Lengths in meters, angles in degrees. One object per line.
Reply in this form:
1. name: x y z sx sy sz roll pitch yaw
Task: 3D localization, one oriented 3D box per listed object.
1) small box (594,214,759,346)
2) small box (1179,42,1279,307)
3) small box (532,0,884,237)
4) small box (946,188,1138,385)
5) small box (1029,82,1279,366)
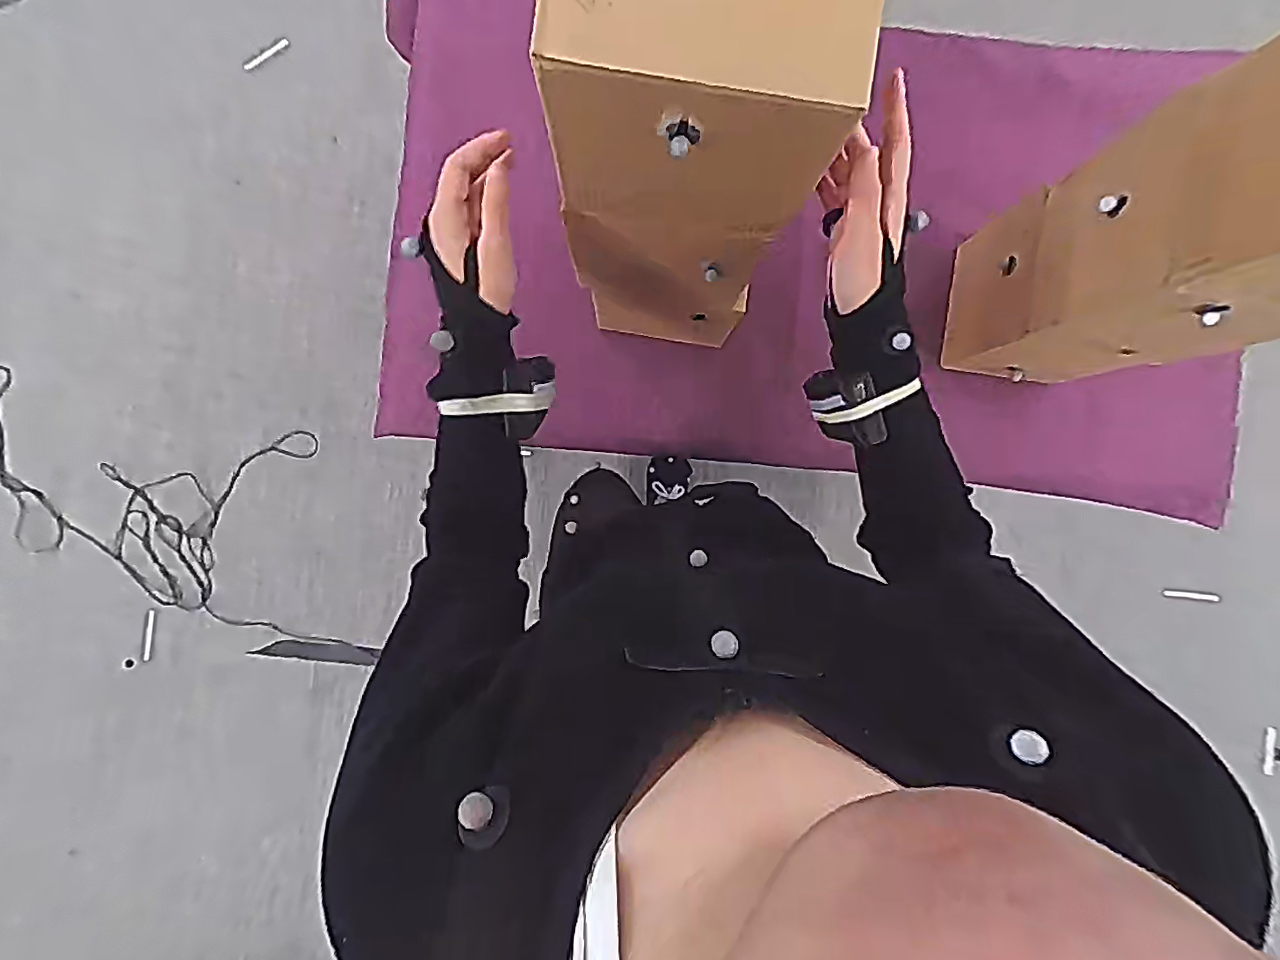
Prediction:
1. small box: 0.045 -0.277 0.680 0.179 0.176 0.168 9 89 -1
2. small box: 0.524 -0.219 0.360 0.168 0.176 0.179 10 89 0
3. small box: 0.041 -0.280 0.352 0.179 0.176 0.168 8 91 -1
4. small box: 0.520 -0.231 0.687 0.168 0.176 0.179 8 90 0
5. small box: 0.521 -0.226 0.523 0.168 0.176 0.179 11 89 0
